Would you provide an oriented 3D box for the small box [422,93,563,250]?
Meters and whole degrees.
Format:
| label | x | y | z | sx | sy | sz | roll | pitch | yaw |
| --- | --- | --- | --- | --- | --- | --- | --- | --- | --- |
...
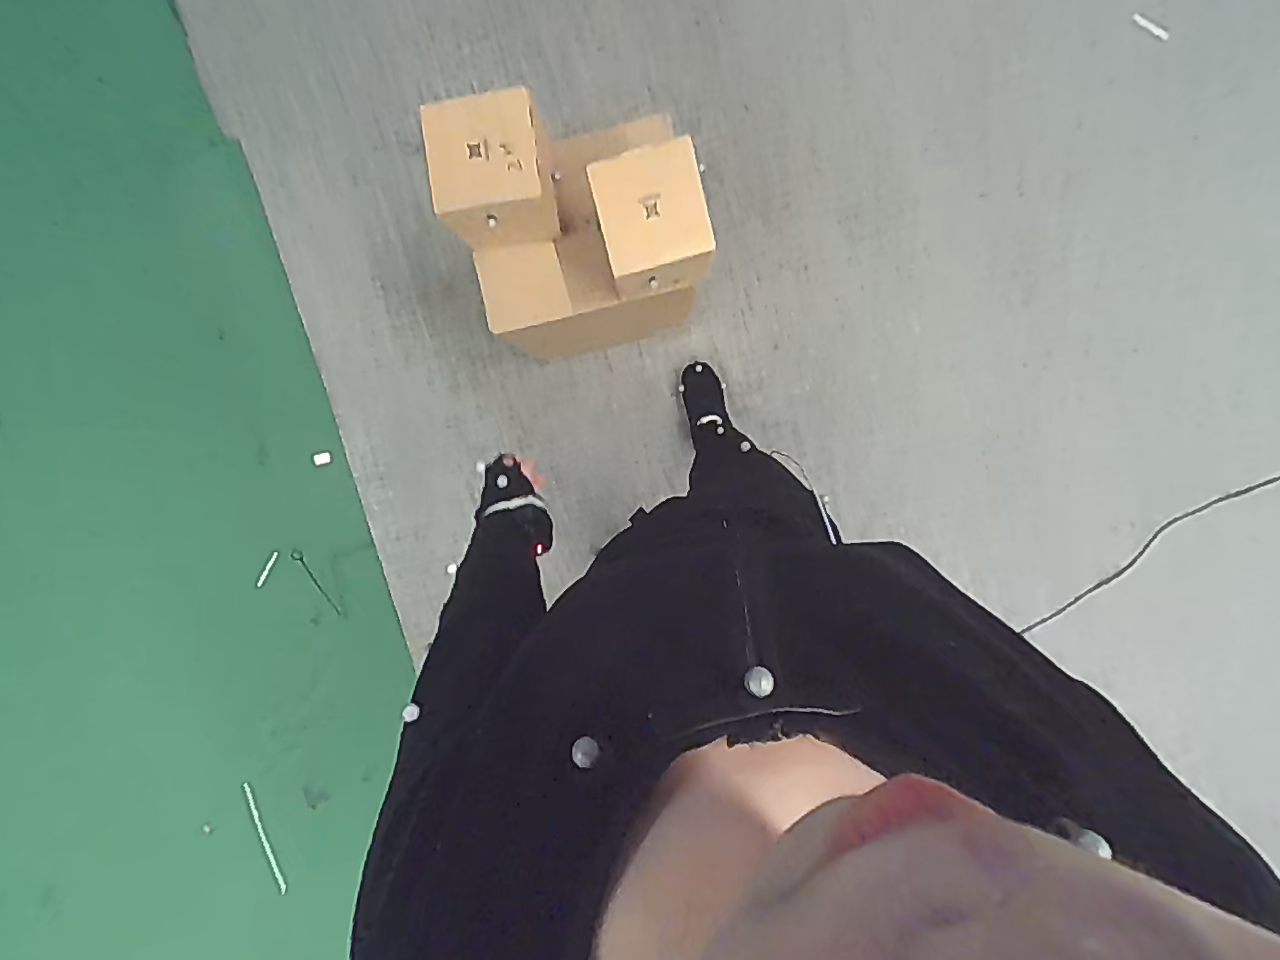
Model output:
| label | x | y | z | sx | sy | sz | roll | pitch | yaw |
| --- | --- | --- | --- | --- | --- | --- | --- | --- | --- |
| small box | -0.241 | -0.509 | 0.919 | 0.179 | 0.176 | 0.168 | -7 | 94 | 4 |

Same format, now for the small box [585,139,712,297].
| label | x | y | z | sx | sy | sz | roll | pitch | yaw |
| --- | --- | --- | --- | --- | --- | --- | --- | --- | --- |
| small box | 0.020 | -0.421 | 0.906 | 0.168 | 0.176 | 0.179 | -14 | 94 | 5 |
